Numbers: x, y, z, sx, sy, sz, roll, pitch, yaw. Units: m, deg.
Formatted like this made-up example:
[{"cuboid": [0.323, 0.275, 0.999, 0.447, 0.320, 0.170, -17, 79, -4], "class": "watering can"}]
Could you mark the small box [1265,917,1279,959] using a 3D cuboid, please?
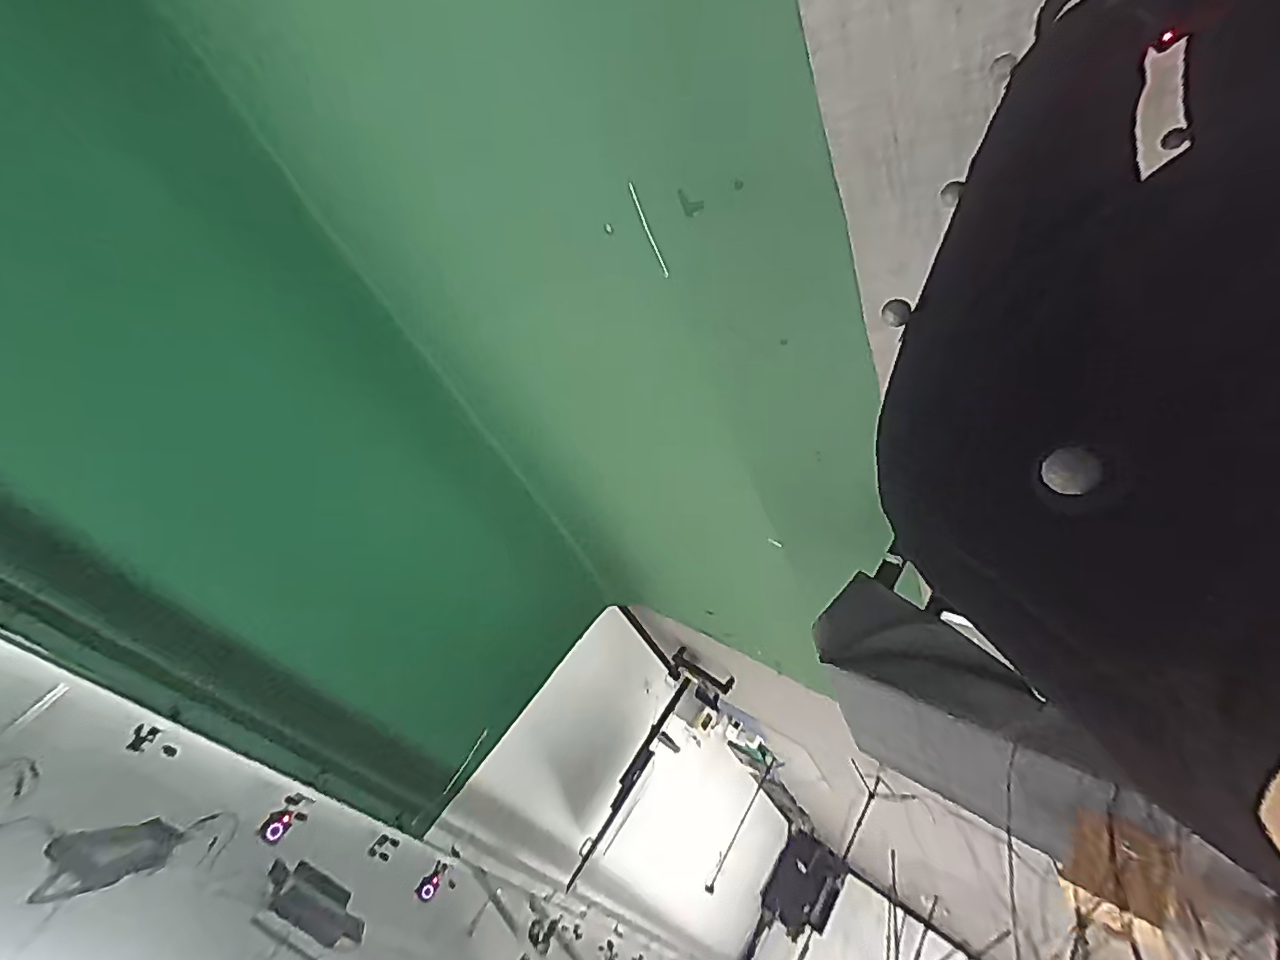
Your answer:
[{"cuboid": [1.230, 0.905, 0.944, 0.168, 0.176, 0.179, 13, 144, 46], "class": "small box"}]

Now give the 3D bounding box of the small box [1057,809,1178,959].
[{"cuboid": [1.024, 0.854, 1.156, 0.168, 0.176, 0.179, 6, 138, 50], "class": "small box"}]
